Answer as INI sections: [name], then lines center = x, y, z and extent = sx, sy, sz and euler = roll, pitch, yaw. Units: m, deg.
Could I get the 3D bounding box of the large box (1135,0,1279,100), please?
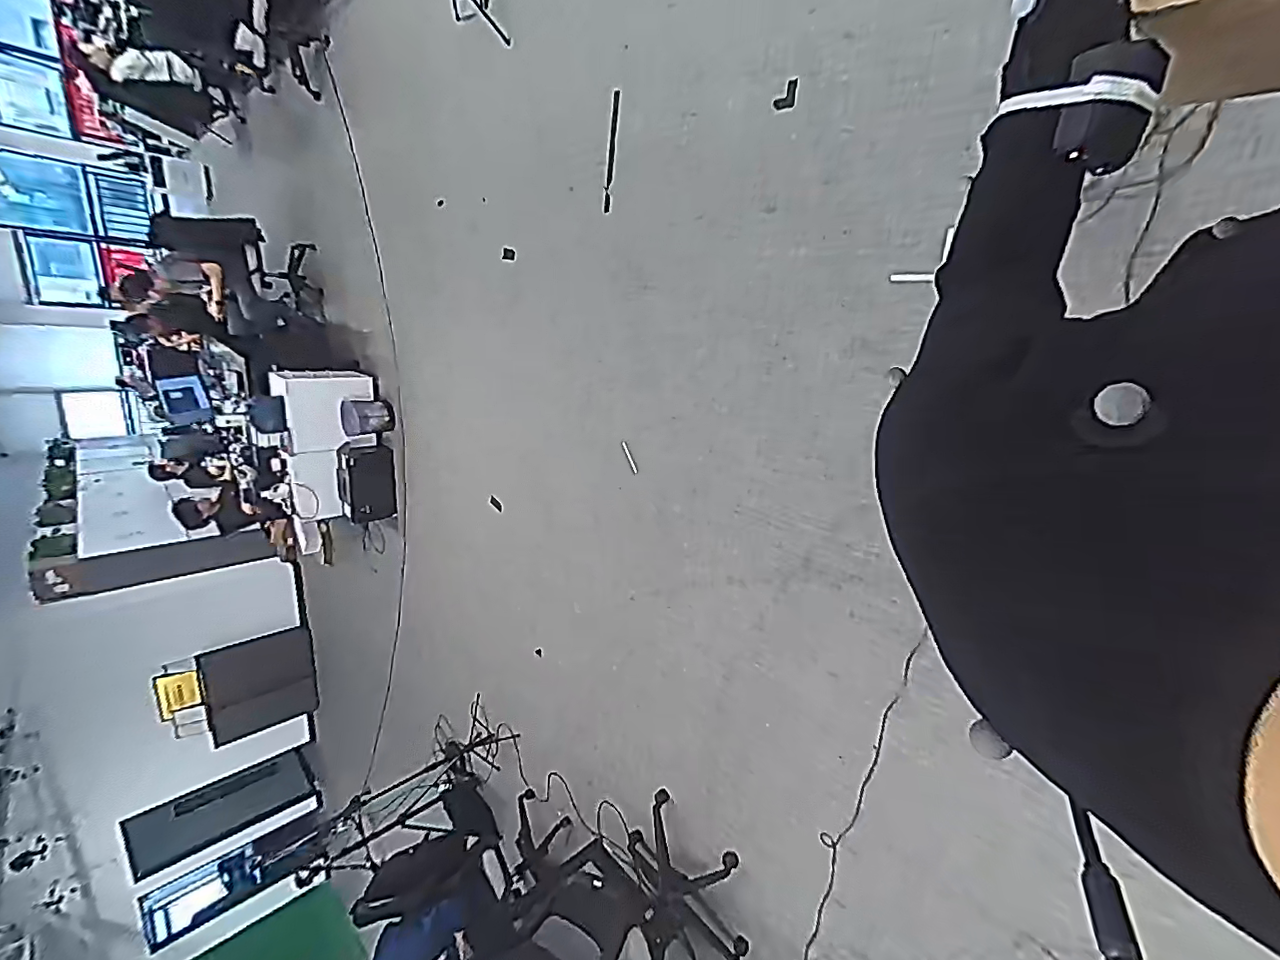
[large box]
center = 0.568, -0.444, 0.275
extent = 0.408, 0.320, 0.320
euler = 19, 120, 41
